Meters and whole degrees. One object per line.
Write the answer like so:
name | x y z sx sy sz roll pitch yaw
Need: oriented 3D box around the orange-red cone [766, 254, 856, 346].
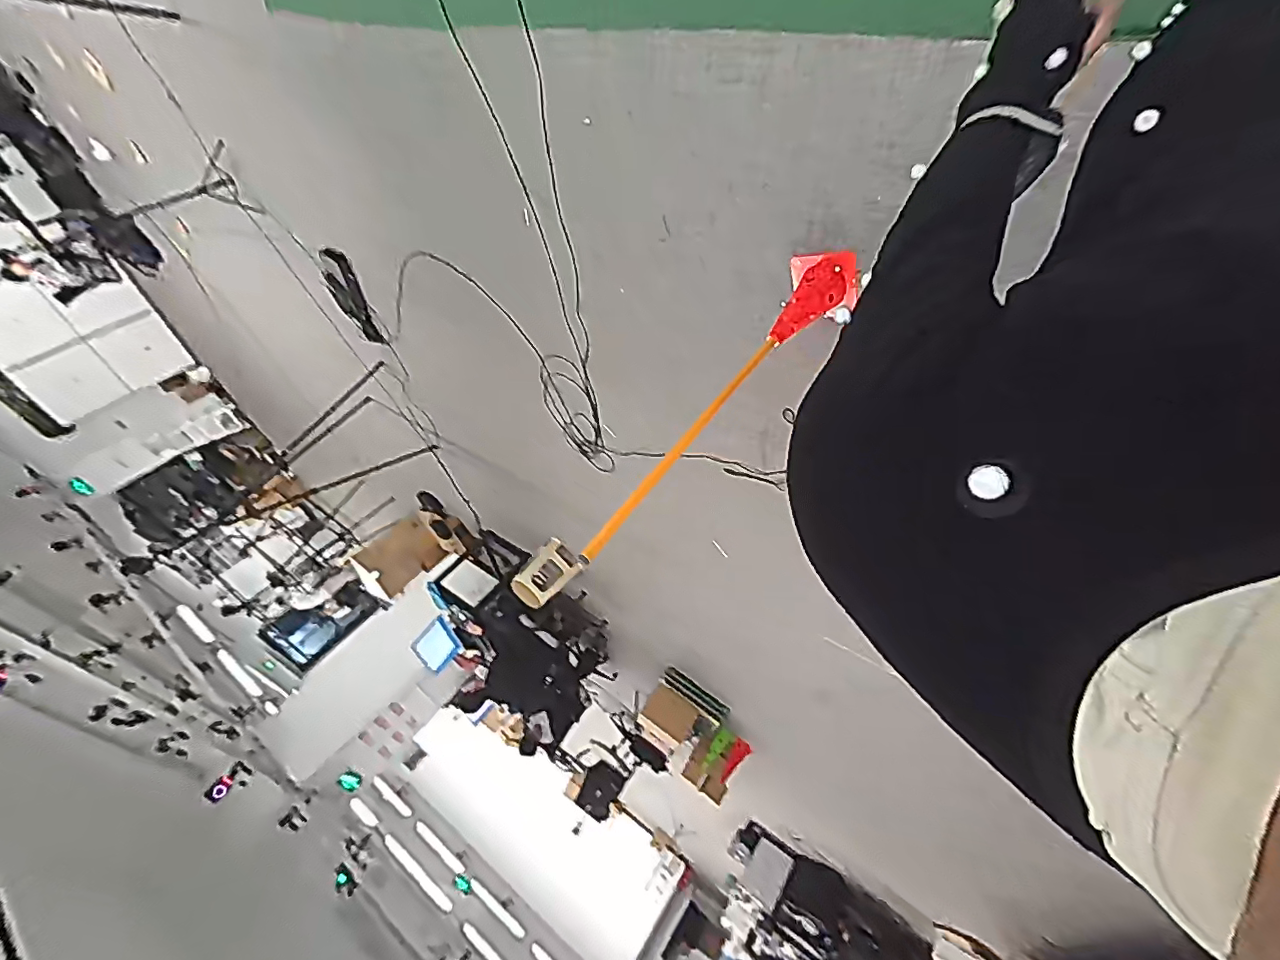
orange-red cone | 0.461 -0.489 1.568 0.199 0.360 0.198 16 139 38
